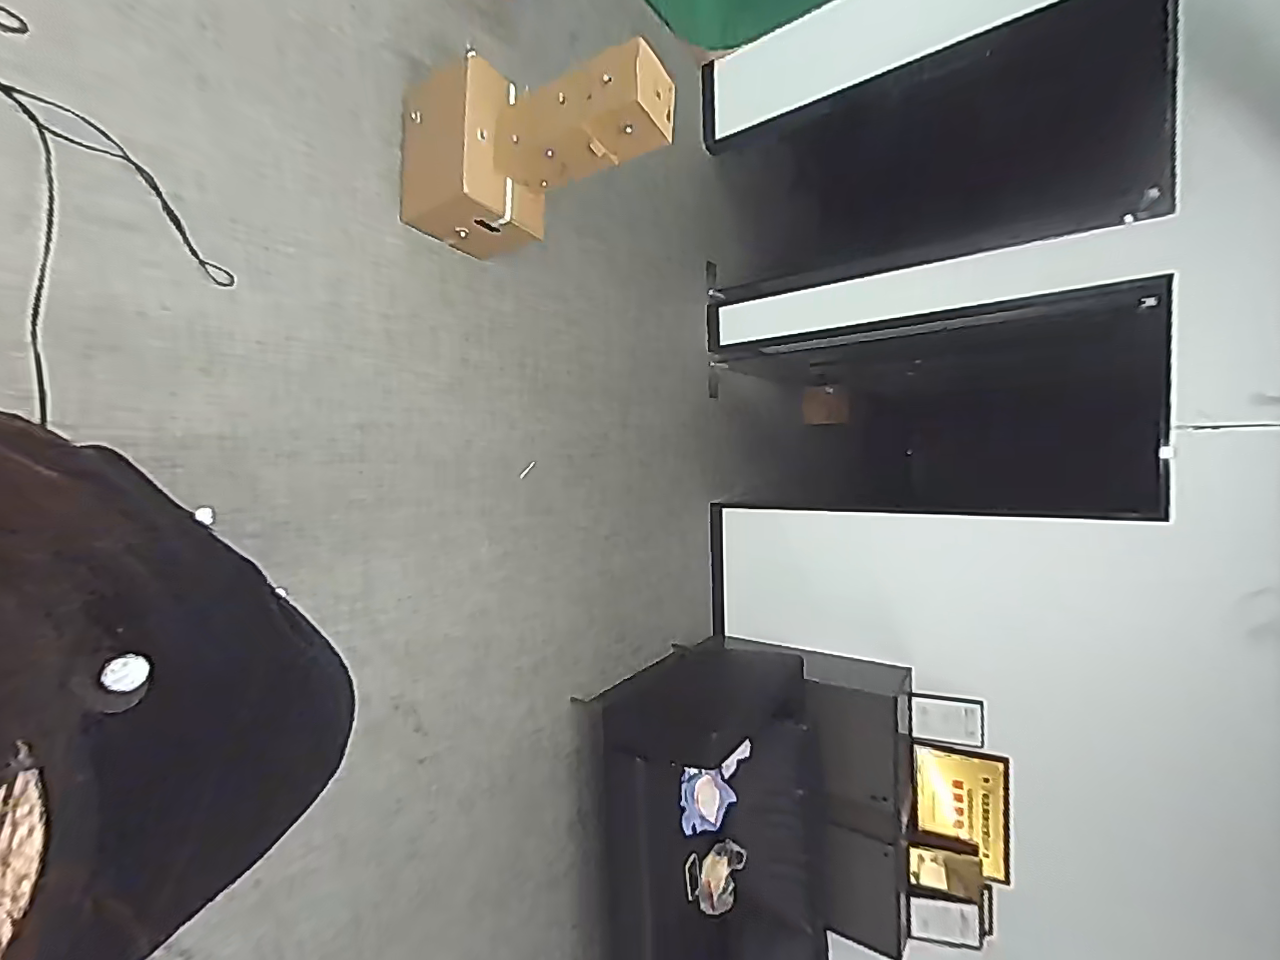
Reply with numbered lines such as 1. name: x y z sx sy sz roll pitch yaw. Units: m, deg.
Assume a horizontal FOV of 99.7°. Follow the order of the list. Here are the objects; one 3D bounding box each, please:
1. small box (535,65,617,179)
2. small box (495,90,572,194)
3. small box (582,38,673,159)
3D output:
1. small box: -0.172 -0.973 1.490 0.168 0.176 0.179 14 78 -57
2. small box: -0.306 -0.976 1.583 0.168 0.176 0.179 11 81 -57
3. small box: -0.032 -0.974 1.402 0.179 0.176 0.168 12 81 -56
